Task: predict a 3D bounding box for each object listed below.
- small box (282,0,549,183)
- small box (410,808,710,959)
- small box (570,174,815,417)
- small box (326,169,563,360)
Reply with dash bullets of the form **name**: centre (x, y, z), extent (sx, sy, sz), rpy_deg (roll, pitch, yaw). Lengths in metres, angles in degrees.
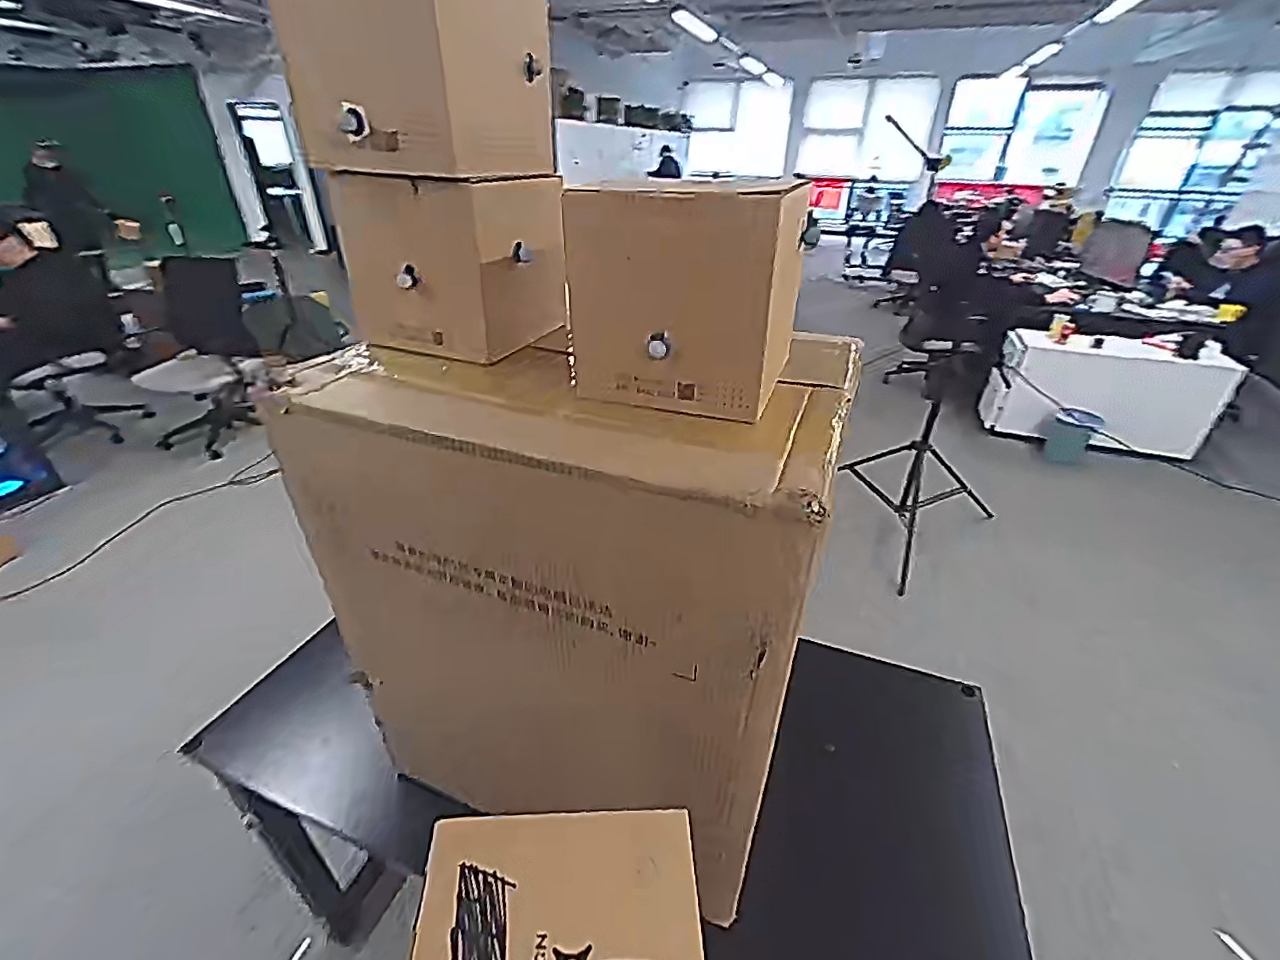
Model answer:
- **small box**: centre (-0.193, -0.376, 0.496), extent (0.168, 0.176, 0.179), rpy_deg (11, 33, 16)
- **small box**: centre (-0.050, 0.342, 0.358), extent (0.179, 0.176, 0.168), rpy_deg (2, 38, -4)
- **small box**: centre (0.051, -0.174, 0.484), extent (0.168, 0.176, 0.179), rpy_deg (10, 33, 19)
- **small box**: centre (-0.192, -0.242, 0.592), extent (0.168, 0.176, 0.179), rpy_deg (13, 33, 16)
